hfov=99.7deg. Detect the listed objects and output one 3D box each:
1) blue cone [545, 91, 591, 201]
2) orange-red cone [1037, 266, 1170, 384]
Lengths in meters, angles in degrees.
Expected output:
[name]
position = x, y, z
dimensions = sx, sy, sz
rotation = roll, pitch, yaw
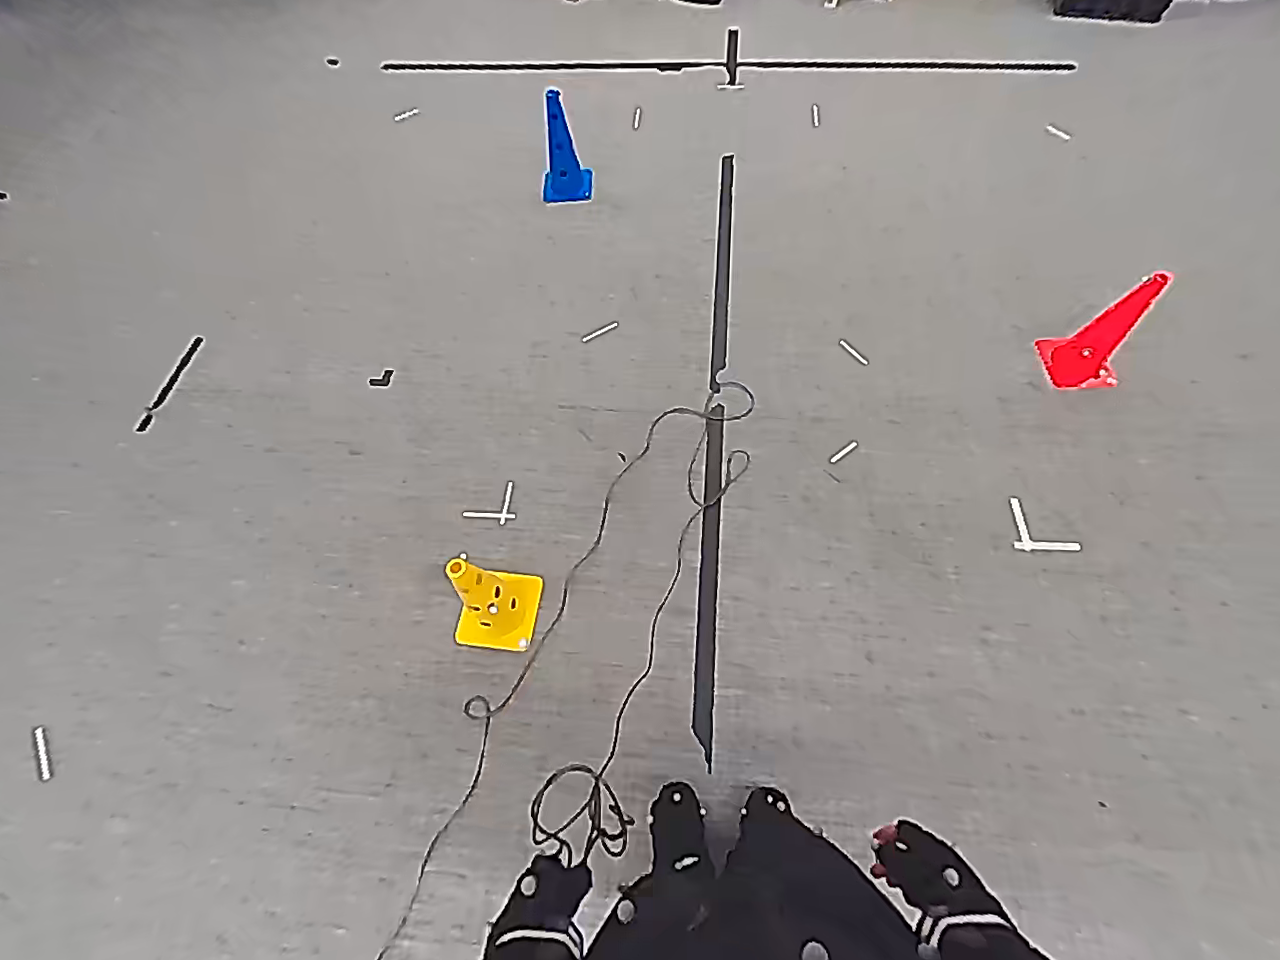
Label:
[blue cone]
position = -0.306, -1.300, 2.102
dimensions = 0.192, 0.380, 0.193
rotation = -1, 62, 2
[orange-red cone]
position = 1.393, -0.473, 1.588
dimensions = 0.198, 0.360, 0.199
rotation = 0, 61, 2
